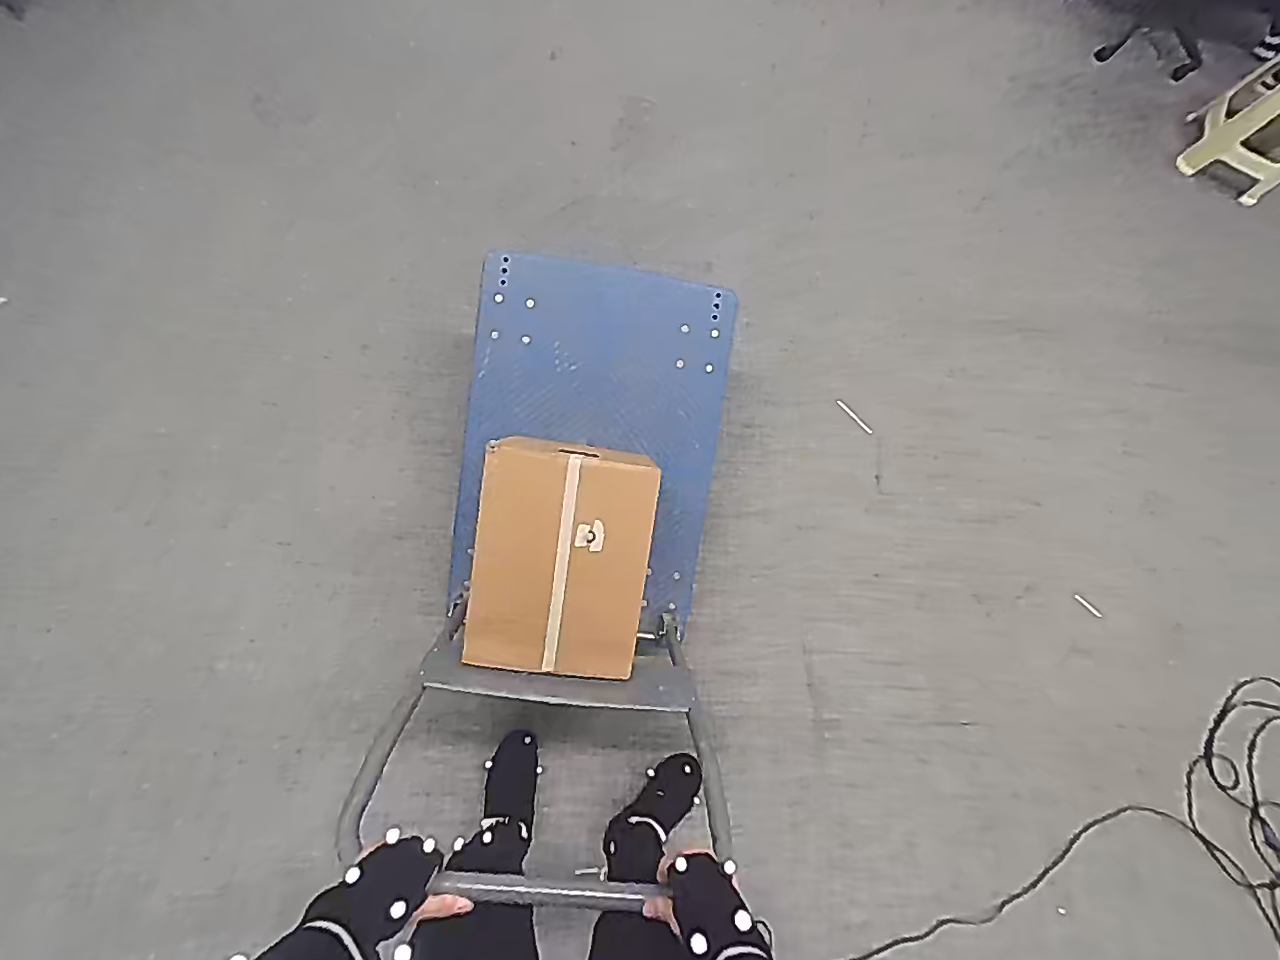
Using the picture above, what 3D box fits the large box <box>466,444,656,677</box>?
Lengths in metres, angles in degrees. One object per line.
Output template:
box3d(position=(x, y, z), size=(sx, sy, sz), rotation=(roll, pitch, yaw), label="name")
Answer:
box3d(position=(-0.156, 0.145, 1.133), size=(0.320, 0.320, 0.408), rotation=(7, 95, -6), label="large box")
